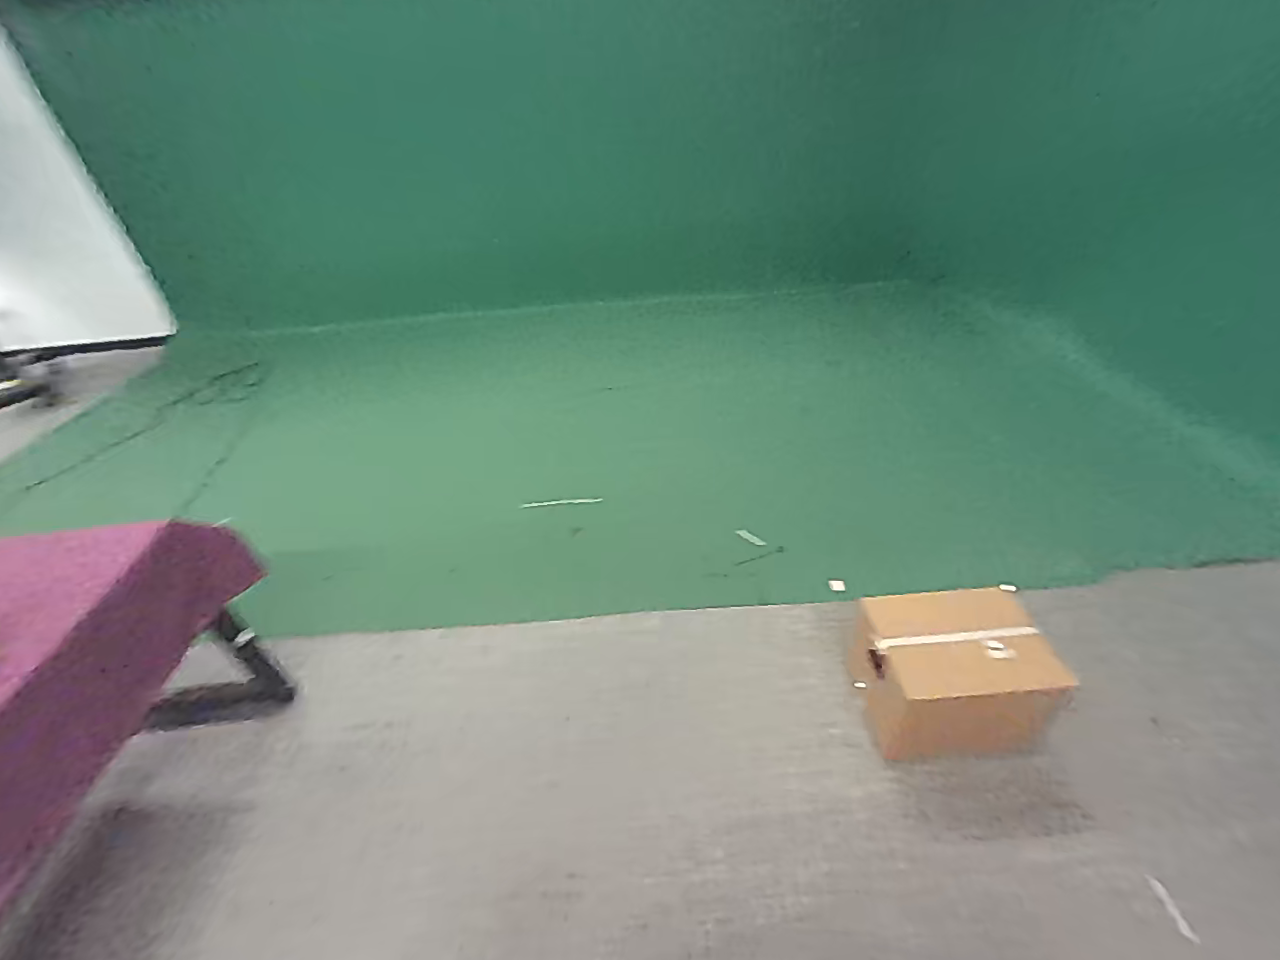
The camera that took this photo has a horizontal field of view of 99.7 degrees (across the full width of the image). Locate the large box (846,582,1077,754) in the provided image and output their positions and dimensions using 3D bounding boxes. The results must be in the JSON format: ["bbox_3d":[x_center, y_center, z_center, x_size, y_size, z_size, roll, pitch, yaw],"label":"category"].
[{"bbox_3d":[0.834,0.511,1.476,0.408,0.320,0.320,-4,37,0],"label":"large box"}]
